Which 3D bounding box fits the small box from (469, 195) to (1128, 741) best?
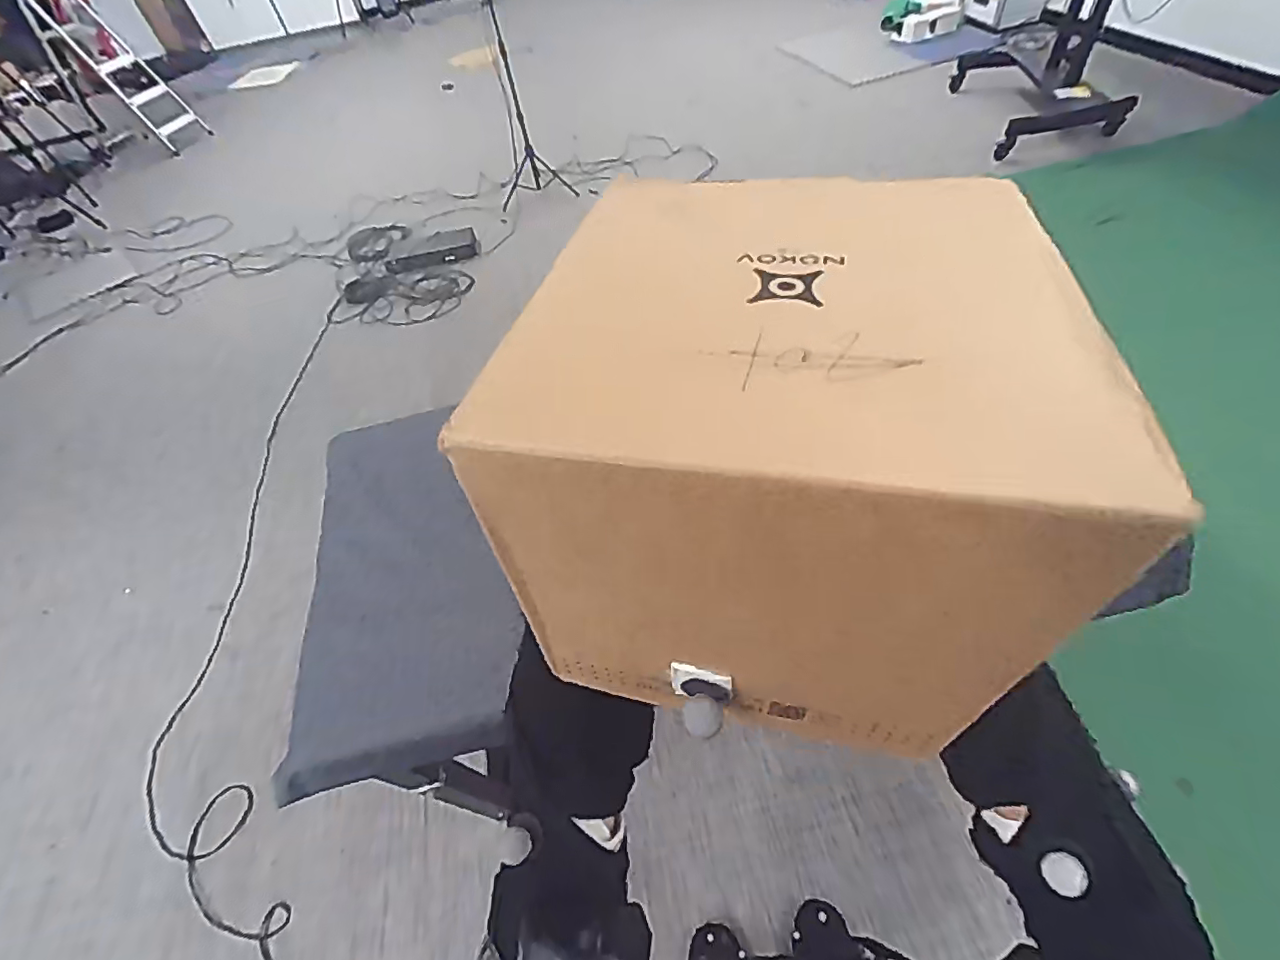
[{"bbox_3d":[0.053,-0.009,0.248,0.168,0.176,0.179,6,49,12],"label":"small box"}]
